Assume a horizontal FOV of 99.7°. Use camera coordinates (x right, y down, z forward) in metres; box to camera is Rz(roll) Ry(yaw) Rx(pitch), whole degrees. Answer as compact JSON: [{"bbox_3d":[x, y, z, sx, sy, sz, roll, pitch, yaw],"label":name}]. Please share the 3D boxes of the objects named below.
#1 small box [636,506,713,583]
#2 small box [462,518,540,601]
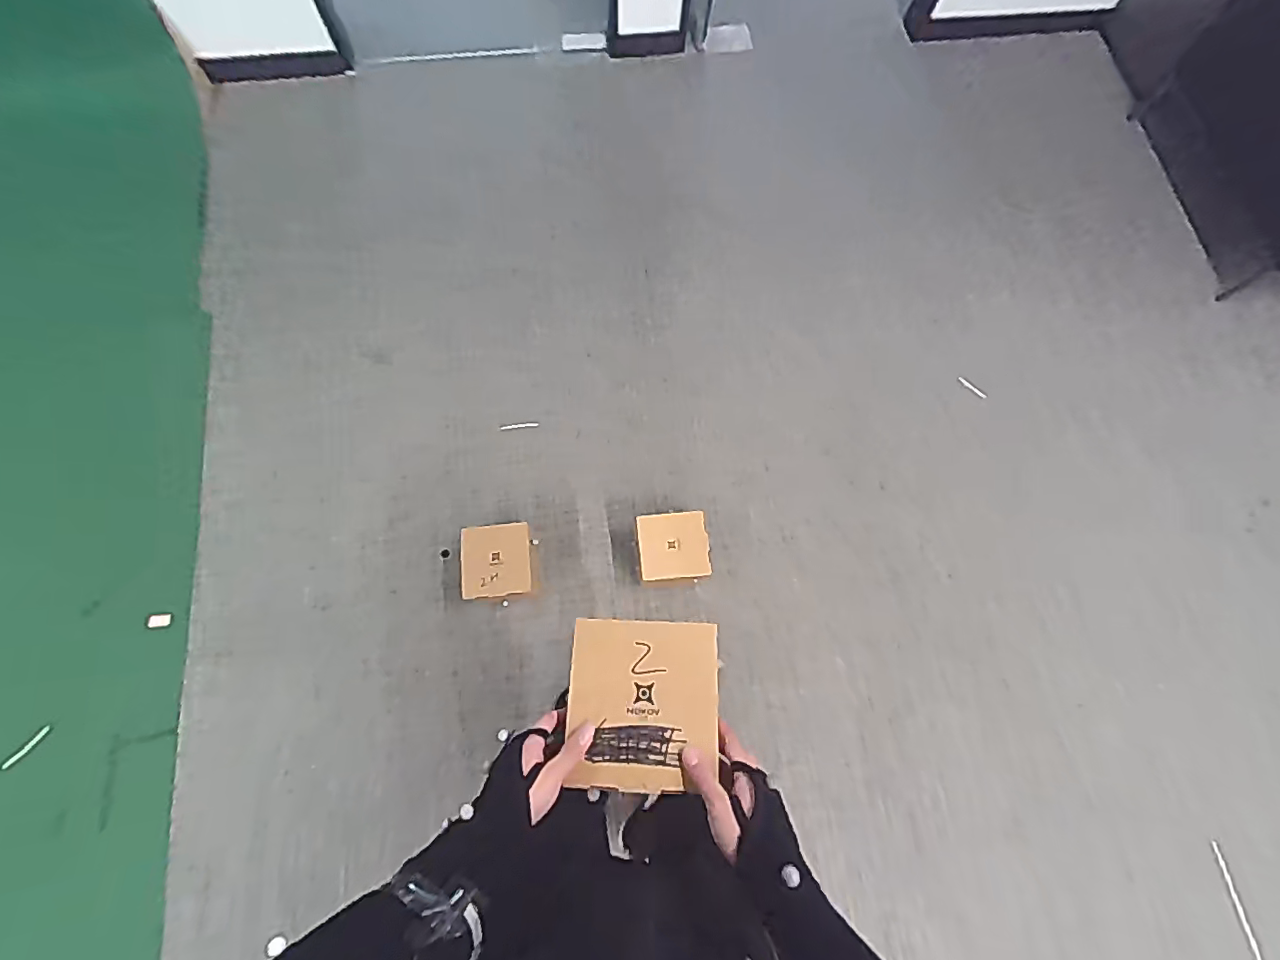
[{"bbox_3d":[0.081,0.173,1.416,0.179,0.176,0.168,-5,74,-5],"label":"small box"},{"bbox_3d":[-0.351,0.207,1.382,0.168,0.176,0.179,-6,74,-4],"label":"small box"}]
